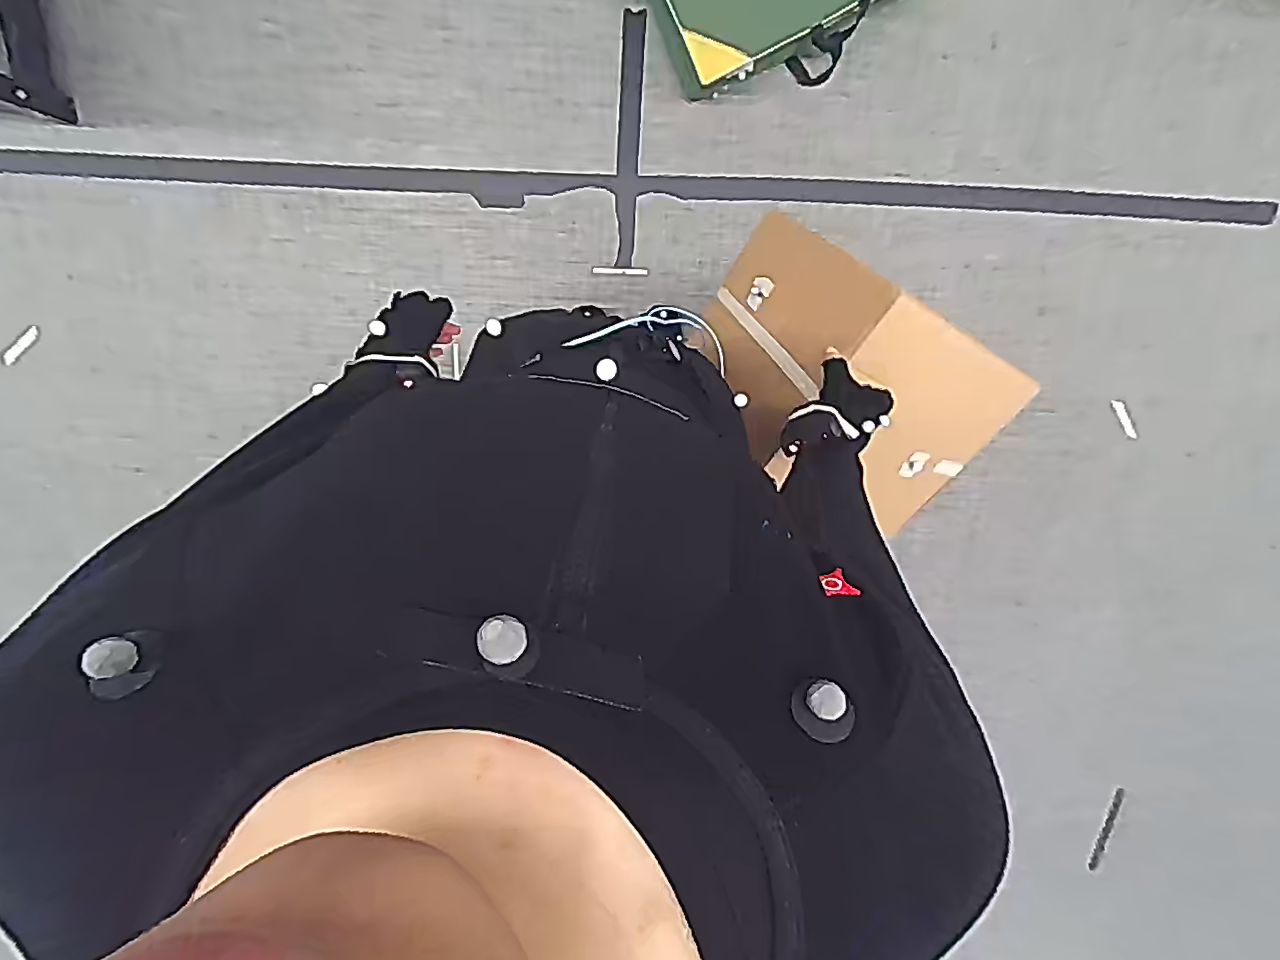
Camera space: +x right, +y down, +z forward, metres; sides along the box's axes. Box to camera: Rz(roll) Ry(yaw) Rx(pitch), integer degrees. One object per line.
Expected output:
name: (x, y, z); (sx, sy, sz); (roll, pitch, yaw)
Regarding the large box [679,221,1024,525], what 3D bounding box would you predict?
large box: (0.315, -0.187, 0.924); (0.320, 0.408, 0.320); (17, 121, -25)
